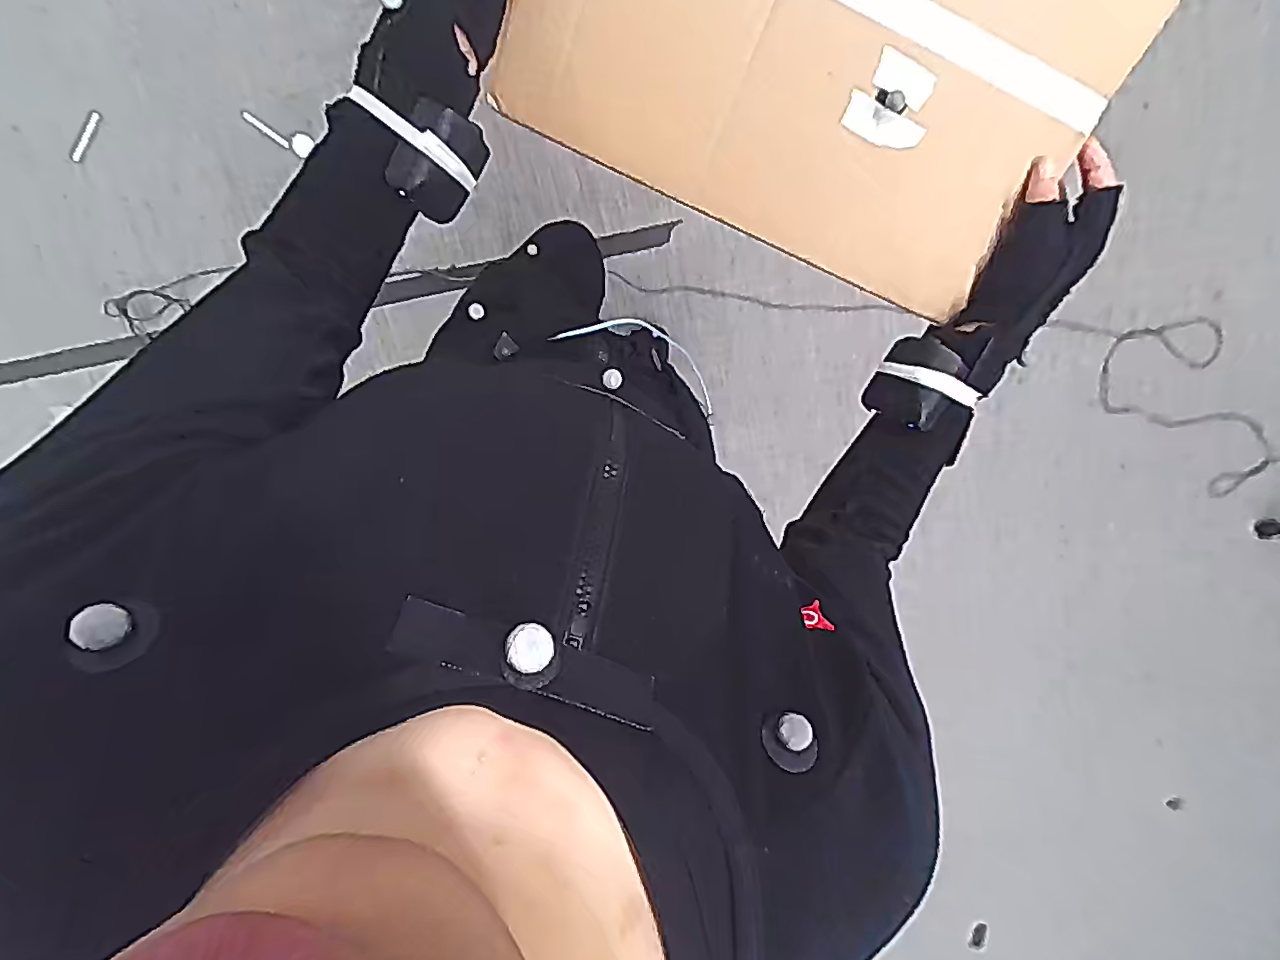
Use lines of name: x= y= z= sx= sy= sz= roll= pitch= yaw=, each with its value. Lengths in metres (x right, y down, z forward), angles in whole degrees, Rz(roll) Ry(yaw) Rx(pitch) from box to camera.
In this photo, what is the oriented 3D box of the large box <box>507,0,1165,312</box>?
large box: x=0.142 y=-0.403 z=0.493 sx=0.408 sy=0.320 sz=0.320 roll=21 pitch=119 yaw=-9
